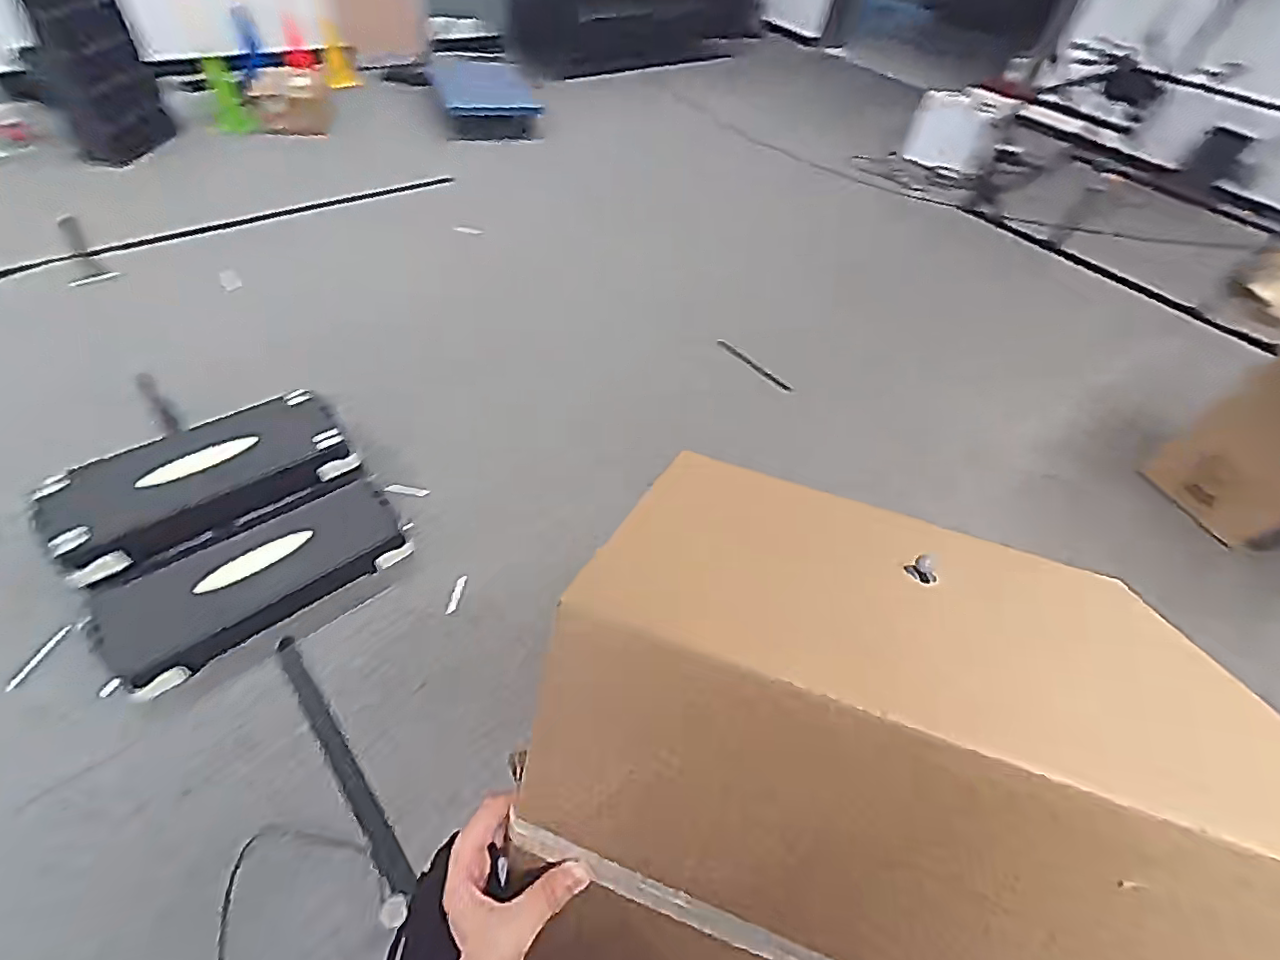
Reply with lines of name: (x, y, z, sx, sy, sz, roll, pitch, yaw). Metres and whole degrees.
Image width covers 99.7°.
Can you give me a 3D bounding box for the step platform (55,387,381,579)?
step platform: (-1.101, -0.019, 1.466, 0.684, 0.204, 0.286, -25, 59, -27)
